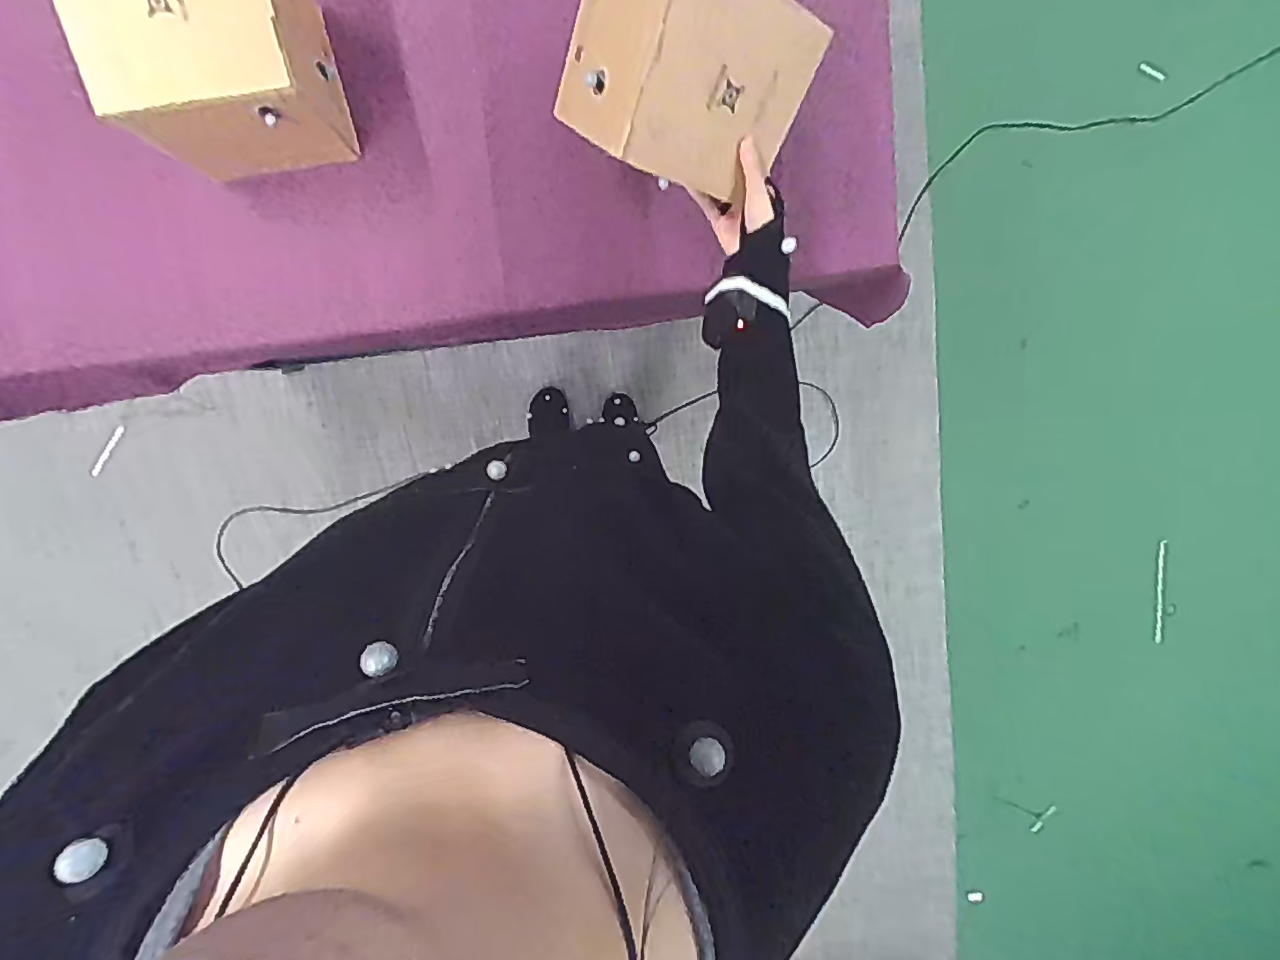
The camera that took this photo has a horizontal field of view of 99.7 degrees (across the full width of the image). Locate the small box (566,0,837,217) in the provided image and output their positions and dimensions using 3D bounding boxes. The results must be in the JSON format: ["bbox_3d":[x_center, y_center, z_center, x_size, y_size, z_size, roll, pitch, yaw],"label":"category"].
[{"bbox_3d":[0.049,-0.399,0.543,0.179,0.176,0.168,-3,135,-38],"label":"small box"}]

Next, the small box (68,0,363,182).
[{"bbox_3d":[-0.427,-0.437,0.565,0.179,0.176,0.168,-13,101,-6],"label":"small box"}]
